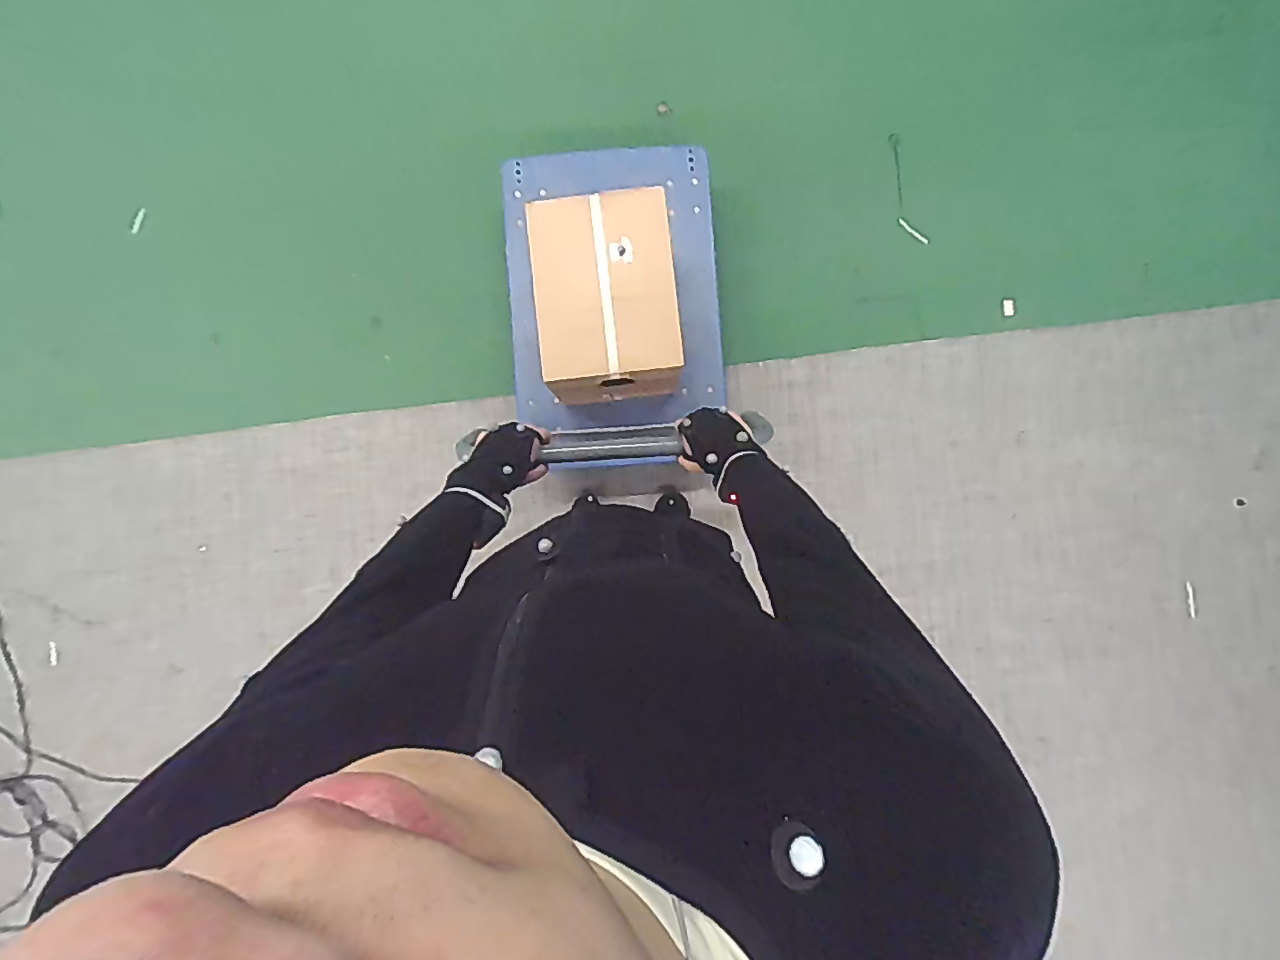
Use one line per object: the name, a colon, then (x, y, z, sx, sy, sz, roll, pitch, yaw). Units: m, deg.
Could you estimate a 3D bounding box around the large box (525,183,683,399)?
large box: (-0.076, -0.439, 1.340, 0.320, 0.320, 0.408, -6, 89, 0)
